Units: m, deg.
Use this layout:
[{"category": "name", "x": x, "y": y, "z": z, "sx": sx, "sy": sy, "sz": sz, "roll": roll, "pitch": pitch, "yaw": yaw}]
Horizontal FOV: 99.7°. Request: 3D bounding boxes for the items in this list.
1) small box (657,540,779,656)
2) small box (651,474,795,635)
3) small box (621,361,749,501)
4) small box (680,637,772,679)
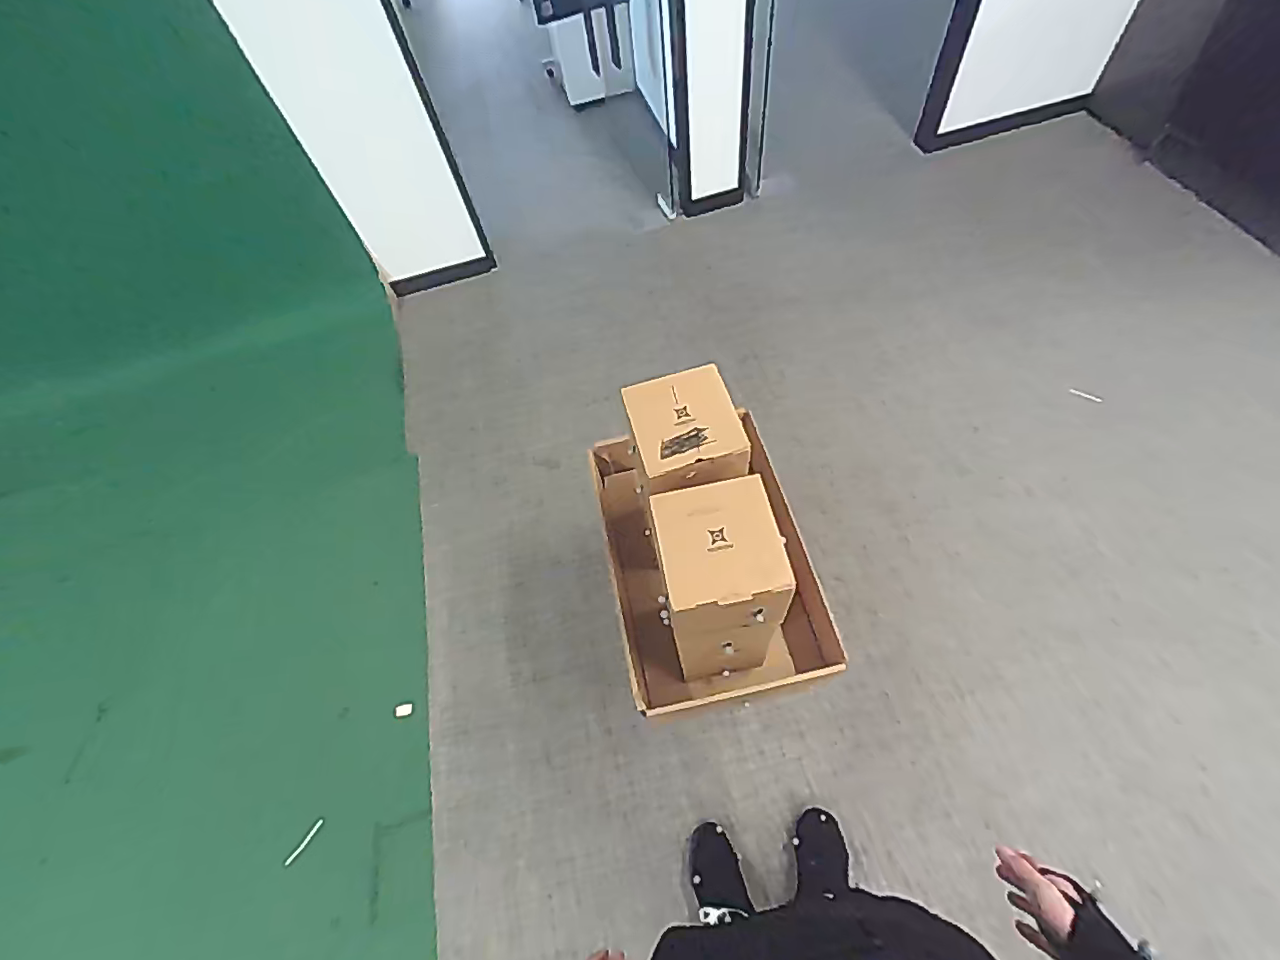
[{"category": "small box", "x": 0.131, "y": 0.197, "z": 0.939, "sx": 0.168, "sy": 0.176, "sz": 0.179, "roll": -12, "pitch": 59, "yaw": 0}, {"category": "small box", "x": 0.117, "y": 0.118, "z": 0.796, "sx": 0.168, "sy": 0.176, "sz": 0.179, "roll": -11, "pitch": 59, "yaw": 1}, {"category": "small box", "x": 0.076, "y": -0.064, "z": 0.912, "sx": 0.168, "sy": 0.176, "sz": 0.179, "roll": -16, "pitch": 61, "yaw": -2}, {"category": "small box", "x": 0.152, "y": 0.278, "z": 1.078, "sx": 0.168, "sy": 0.176, "sz": 0.179, "roll": -13, "pitch": 59, "yaw": 1}]
